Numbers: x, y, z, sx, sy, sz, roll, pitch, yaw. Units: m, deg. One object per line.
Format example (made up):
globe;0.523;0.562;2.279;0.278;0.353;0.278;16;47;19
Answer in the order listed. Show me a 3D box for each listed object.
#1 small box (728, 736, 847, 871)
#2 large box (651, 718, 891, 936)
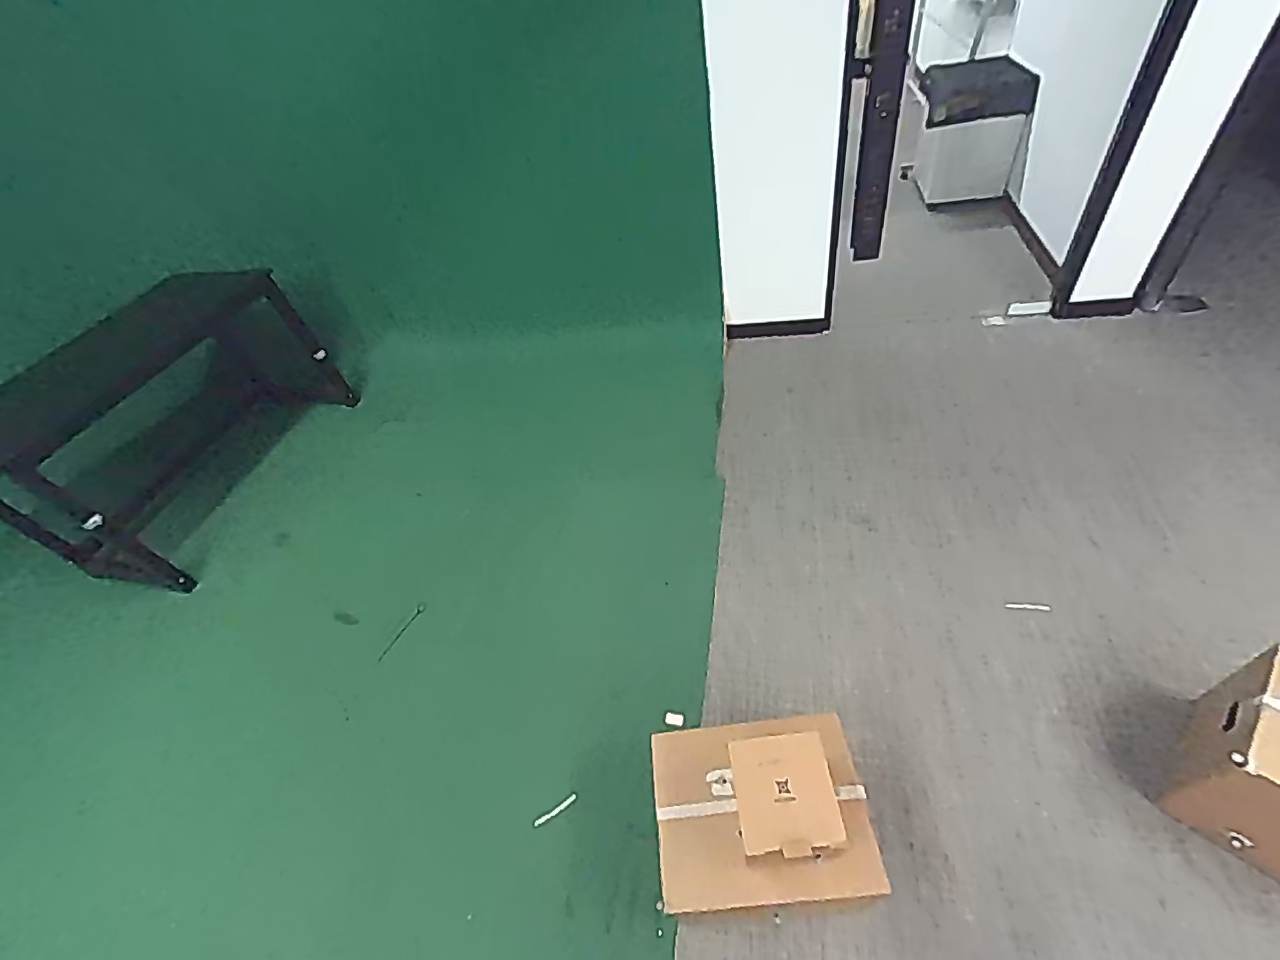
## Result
small box;0.256;0.579;0.961;0.168;0.176;0.179;-9;46;5
large box;0.257;0.744;1.149;0.408;0.320;0.320;-10;44;6
